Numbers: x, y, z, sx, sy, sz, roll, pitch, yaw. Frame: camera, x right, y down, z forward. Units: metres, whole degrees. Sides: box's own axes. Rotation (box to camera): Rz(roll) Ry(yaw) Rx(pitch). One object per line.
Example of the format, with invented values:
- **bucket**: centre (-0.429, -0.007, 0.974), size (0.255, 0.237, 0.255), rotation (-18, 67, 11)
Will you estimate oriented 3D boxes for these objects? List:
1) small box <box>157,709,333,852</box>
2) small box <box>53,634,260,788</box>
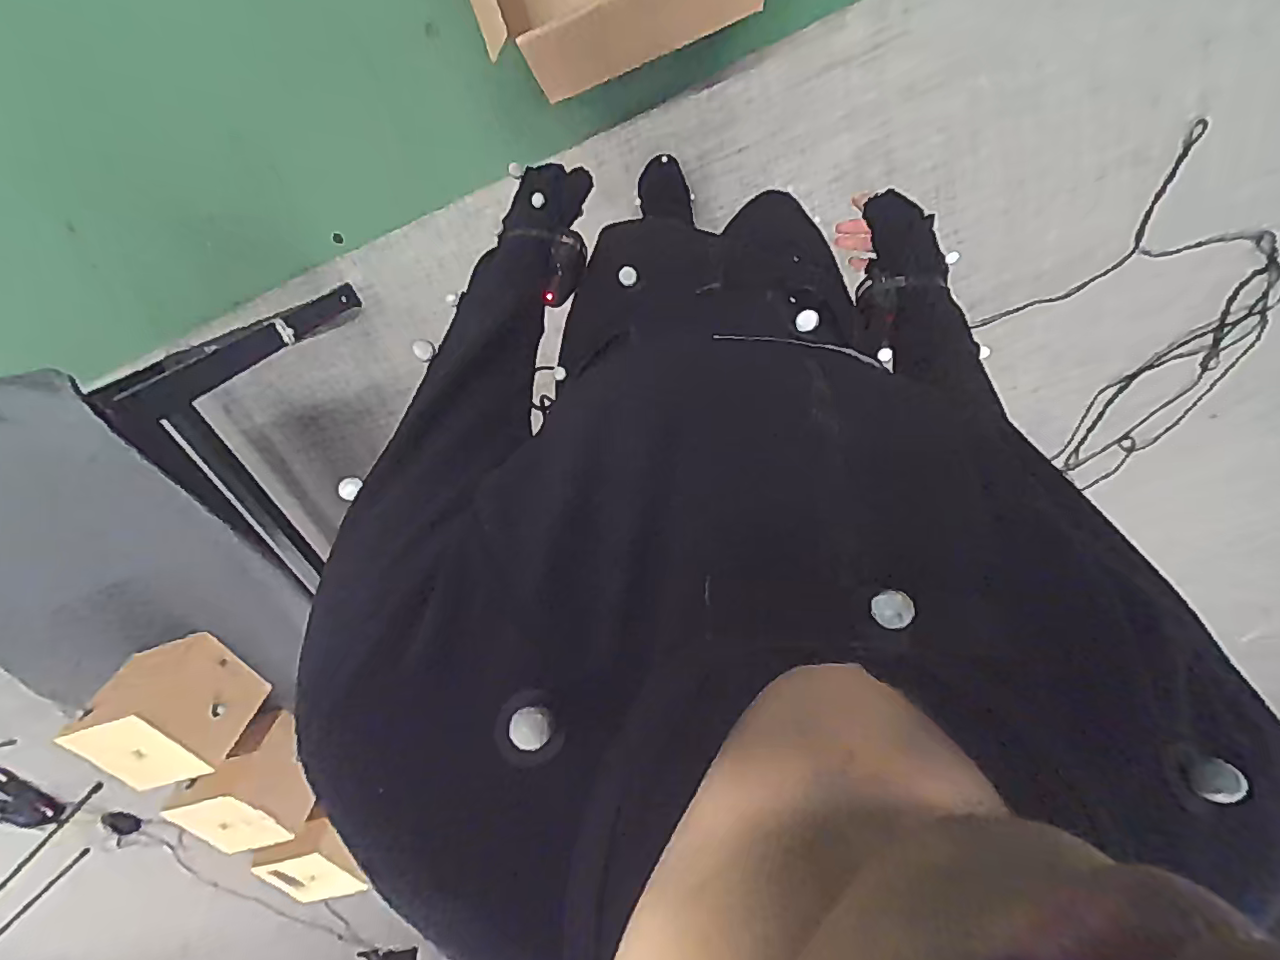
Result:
- **small box**: centre (-0.743, 0.574, 1.040), size (0.179, 0.176, 0.168), rotation (-20, 120, 12)
- **small box**: centre (-0.801, 0.389, 0.926), size (0.179, 0.176, 0.168), rotation (-19, 120, 13)
